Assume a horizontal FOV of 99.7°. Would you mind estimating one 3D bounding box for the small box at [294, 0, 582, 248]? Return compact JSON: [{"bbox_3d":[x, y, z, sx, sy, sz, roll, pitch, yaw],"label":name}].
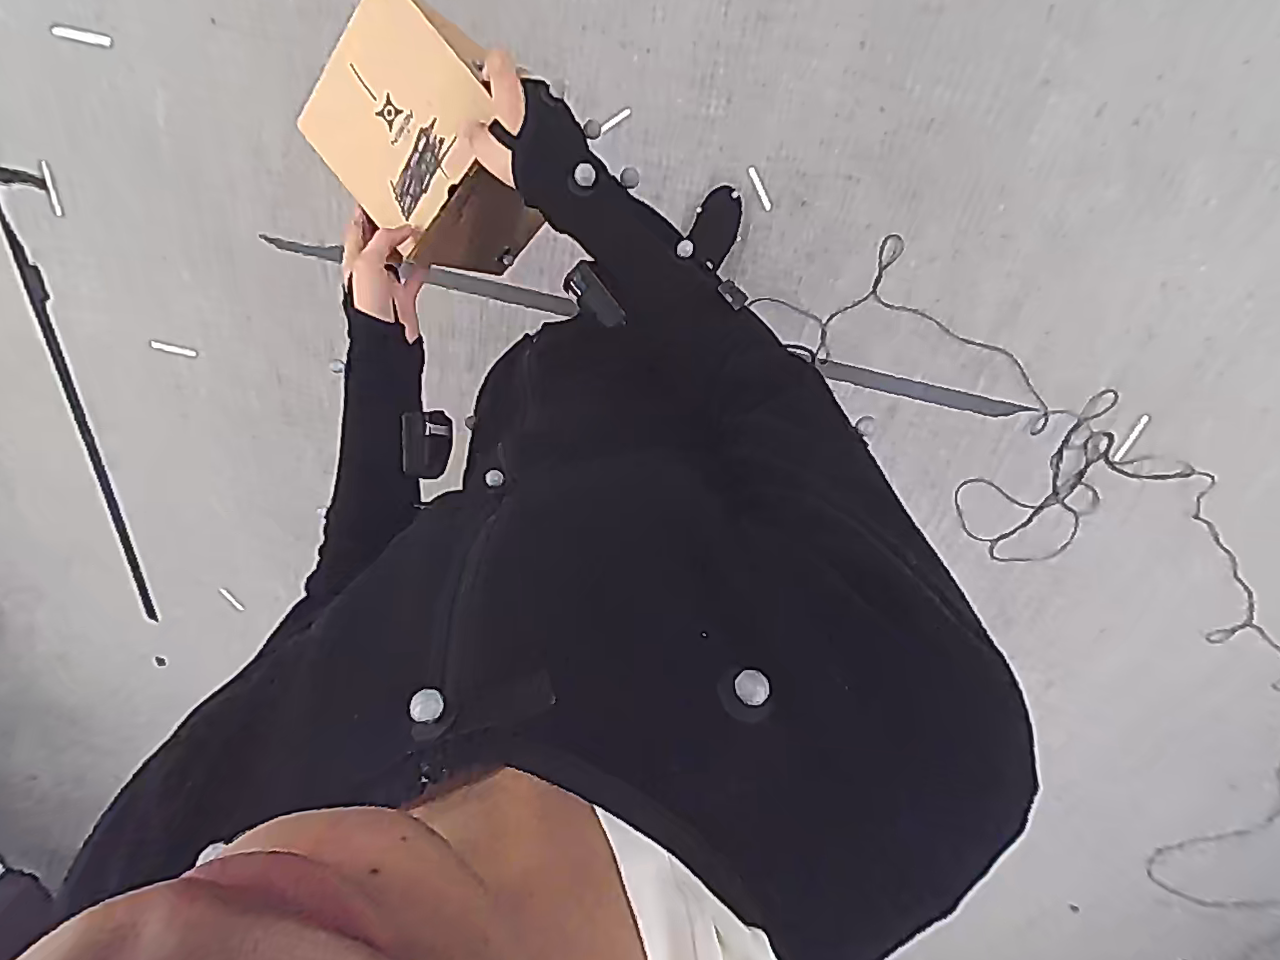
[{"bbox_3d":[-0.189,-0.361,0.549,0.168,0.176,0.179,-39,89,24],"label":"small box"}]
